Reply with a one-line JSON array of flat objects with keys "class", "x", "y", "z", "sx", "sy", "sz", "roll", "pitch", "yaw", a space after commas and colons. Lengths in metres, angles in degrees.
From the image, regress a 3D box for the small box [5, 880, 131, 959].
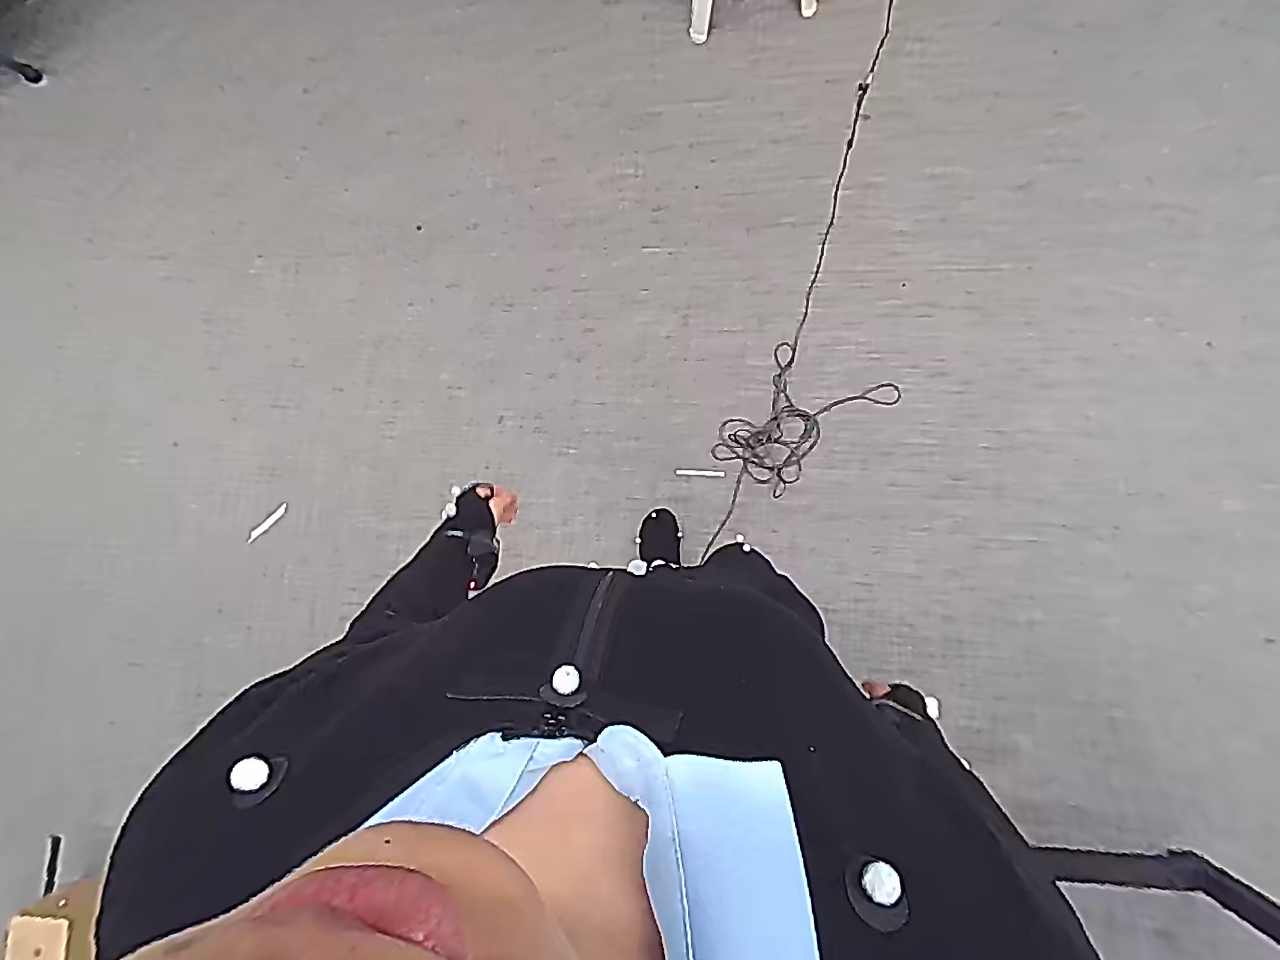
[{"class": "small box", "x": -1.545, "y": 1.226, "z": 1.467, "sx": 0.179, "sy": 0.176, "sz": 0.168, "roll": 0, "pitch": 82, "yaw": 7}]
